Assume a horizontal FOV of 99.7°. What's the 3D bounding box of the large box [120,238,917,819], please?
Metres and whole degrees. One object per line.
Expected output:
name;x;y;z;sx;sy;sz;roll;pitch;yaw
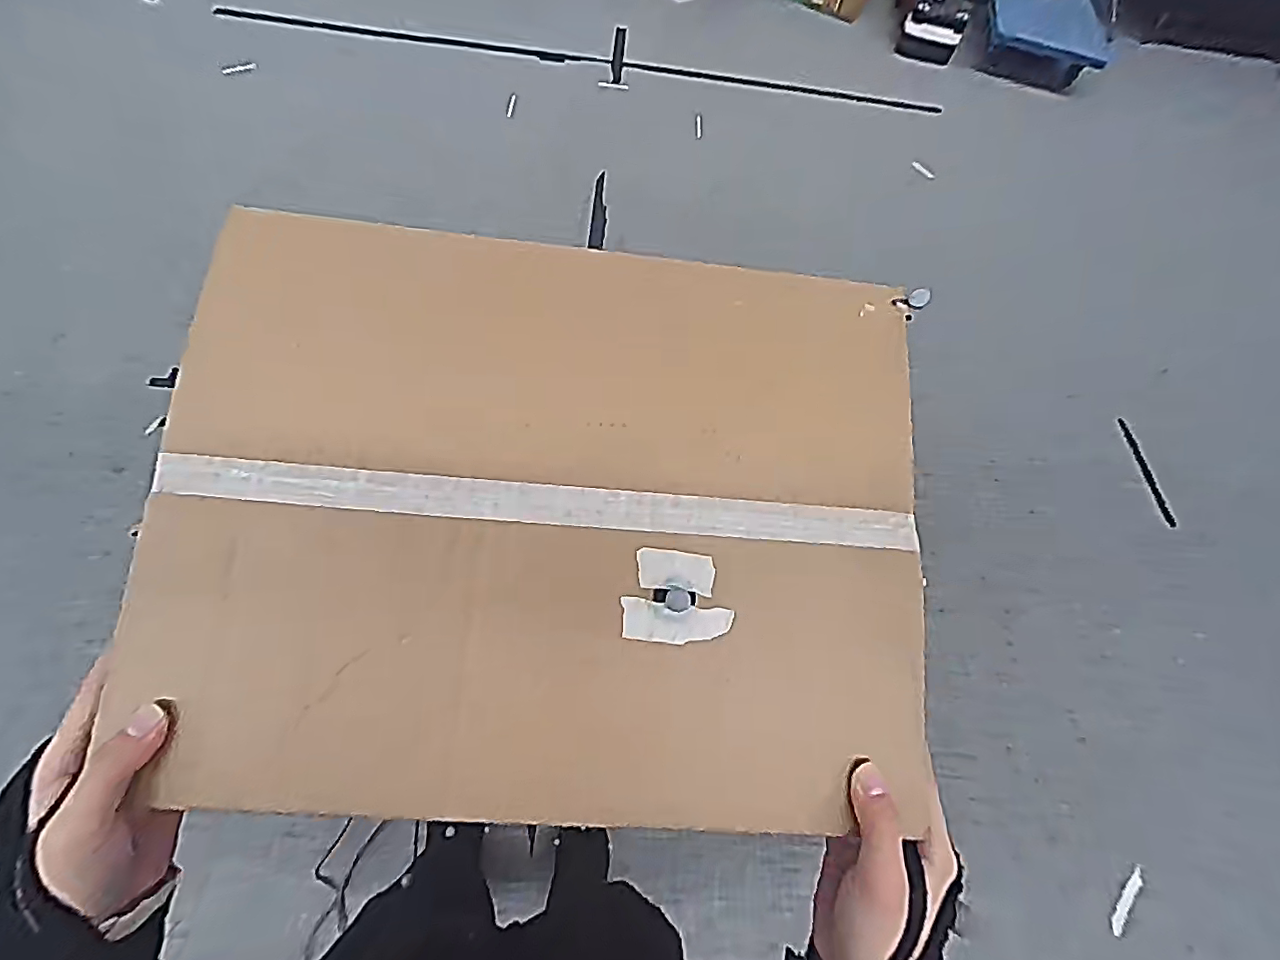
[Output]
large box;-0.057;0.050;0.447;0.408;0.320;0.320;5;78;-5
